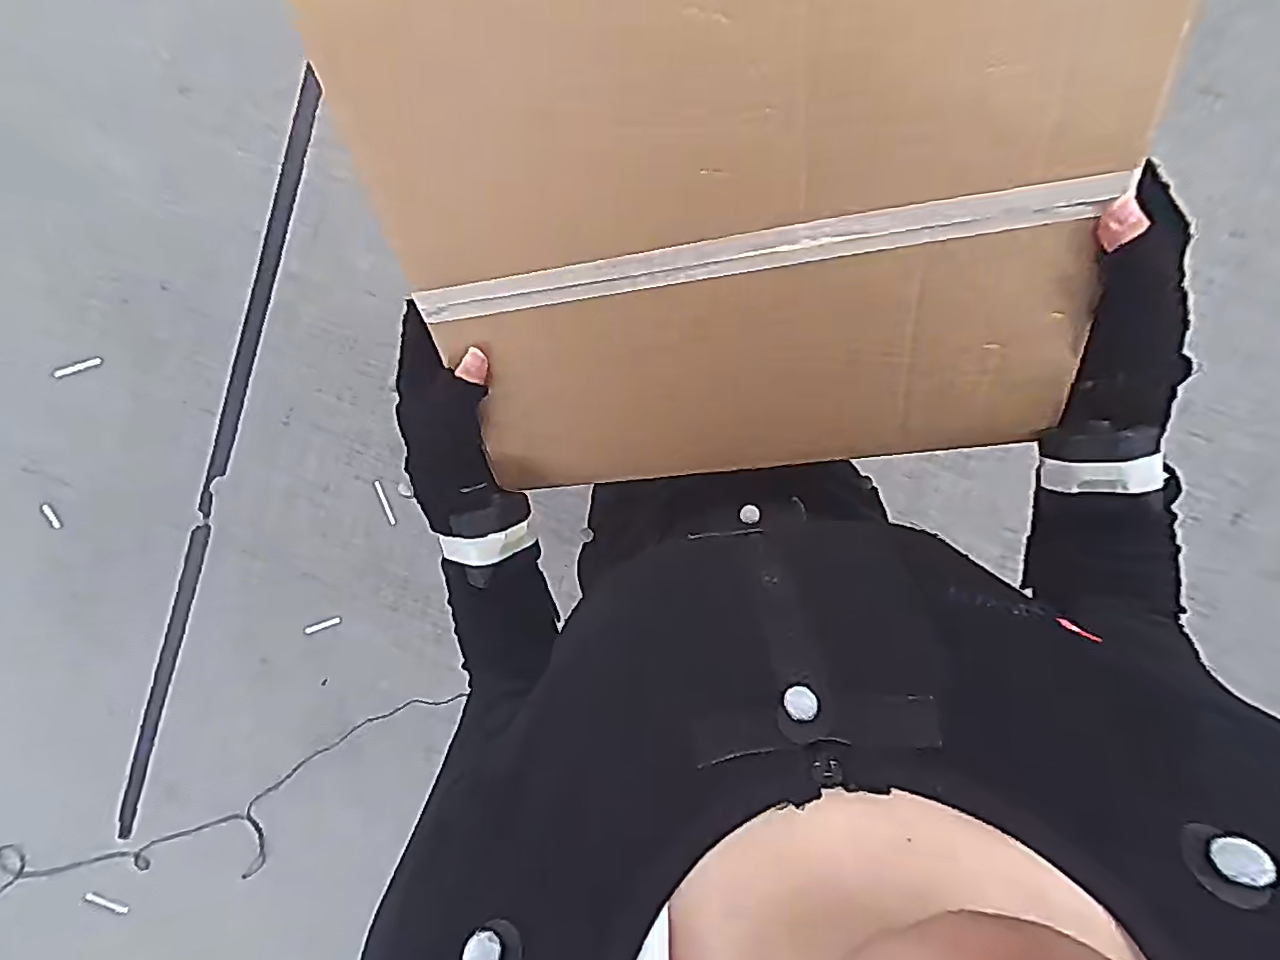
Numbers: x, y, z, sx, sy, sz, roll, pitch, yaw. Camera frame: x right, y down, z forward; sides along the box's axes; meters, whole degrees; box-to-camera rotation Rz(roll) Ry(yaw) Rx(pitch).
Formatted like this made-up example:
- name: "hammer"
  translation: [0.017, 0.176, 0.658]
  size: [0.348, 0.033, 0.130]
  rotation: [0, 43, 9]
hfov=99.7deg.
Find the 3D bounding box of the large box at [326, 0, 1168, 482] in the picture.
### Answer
- name: "large box"
  translation: [0.068, -0.228, 0.444]
  size: [0.408, 0.320, 0.320]
  rotation: [-5, 129, 9]
